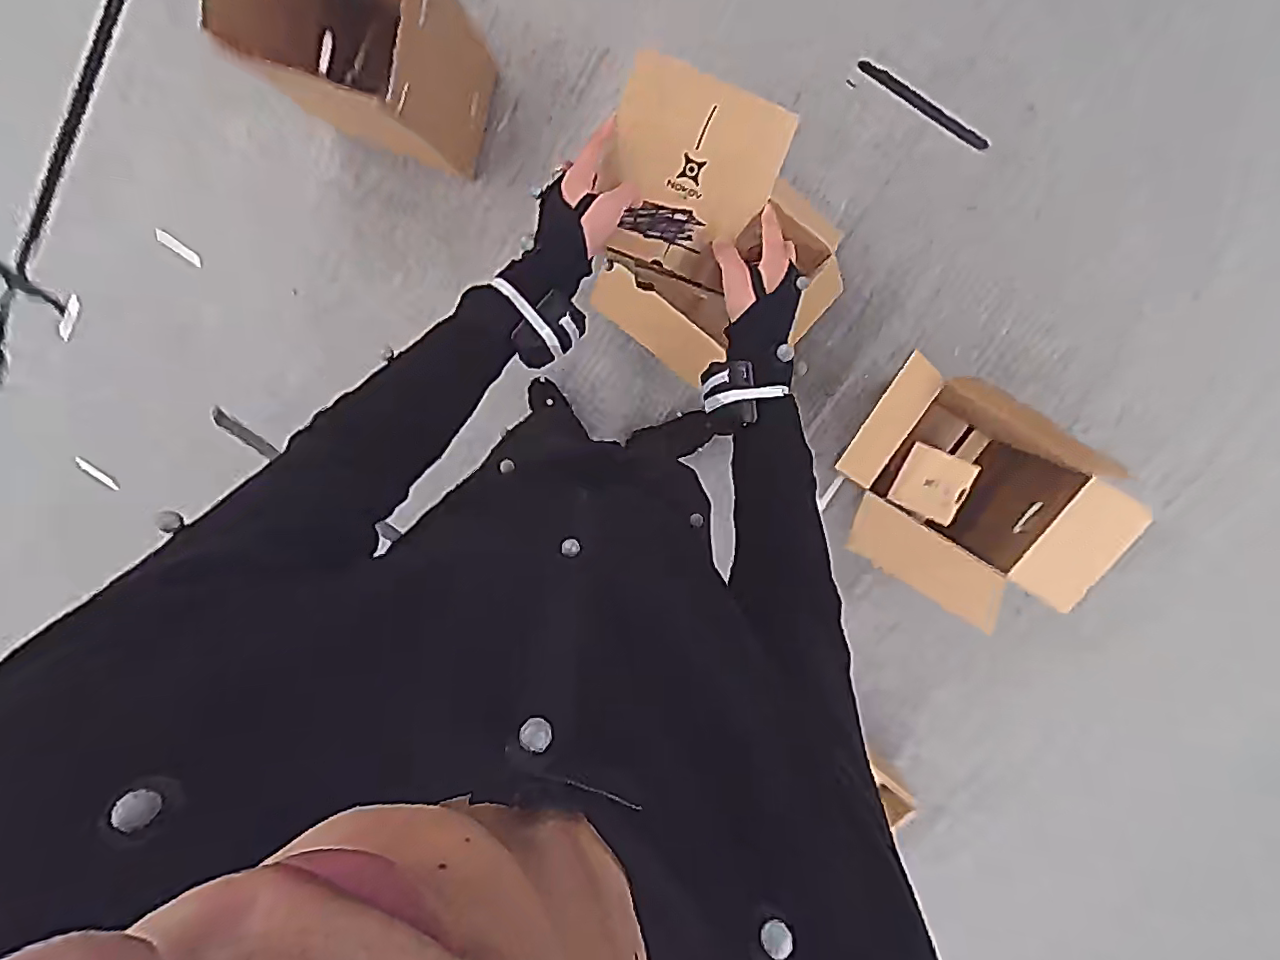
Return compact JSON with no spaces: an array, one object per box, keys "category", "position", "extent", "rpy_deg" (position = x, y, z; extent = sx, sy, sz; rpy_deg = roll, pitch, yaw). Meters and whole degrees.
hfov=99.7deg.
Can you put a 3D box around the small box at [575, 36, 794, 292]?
[{"category":"small box","position":[0.038,-0.321,0.594],"extent":[0.168,0.176,0.179],"rpy_deg":[18,107,-9]}]
